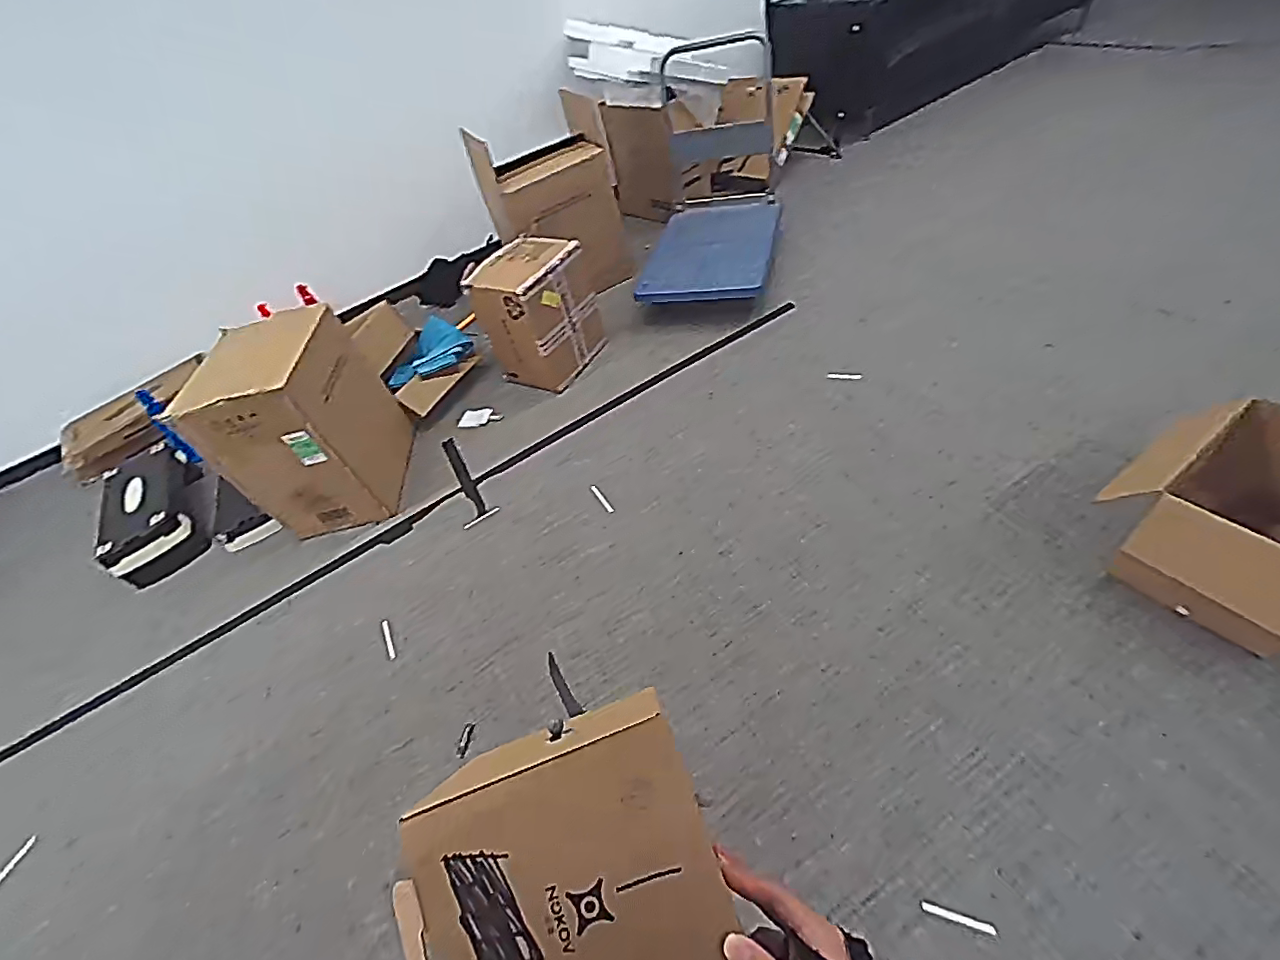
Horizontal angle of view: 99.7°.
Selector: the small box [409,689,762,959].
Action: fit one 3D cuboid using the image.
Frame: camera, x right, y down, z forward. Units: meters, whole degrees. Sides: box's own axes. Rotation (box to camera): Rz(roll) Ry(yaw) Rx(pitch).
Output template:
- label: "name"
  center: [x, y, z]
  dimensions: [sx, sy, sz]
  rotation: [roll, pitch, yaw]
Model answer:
- label: "small box"
  center: [-0.033, 0.267, 0.391]
  dimensions: [0.179, 0.176, 0.168]
  rotation: [-19, 76, -7]
